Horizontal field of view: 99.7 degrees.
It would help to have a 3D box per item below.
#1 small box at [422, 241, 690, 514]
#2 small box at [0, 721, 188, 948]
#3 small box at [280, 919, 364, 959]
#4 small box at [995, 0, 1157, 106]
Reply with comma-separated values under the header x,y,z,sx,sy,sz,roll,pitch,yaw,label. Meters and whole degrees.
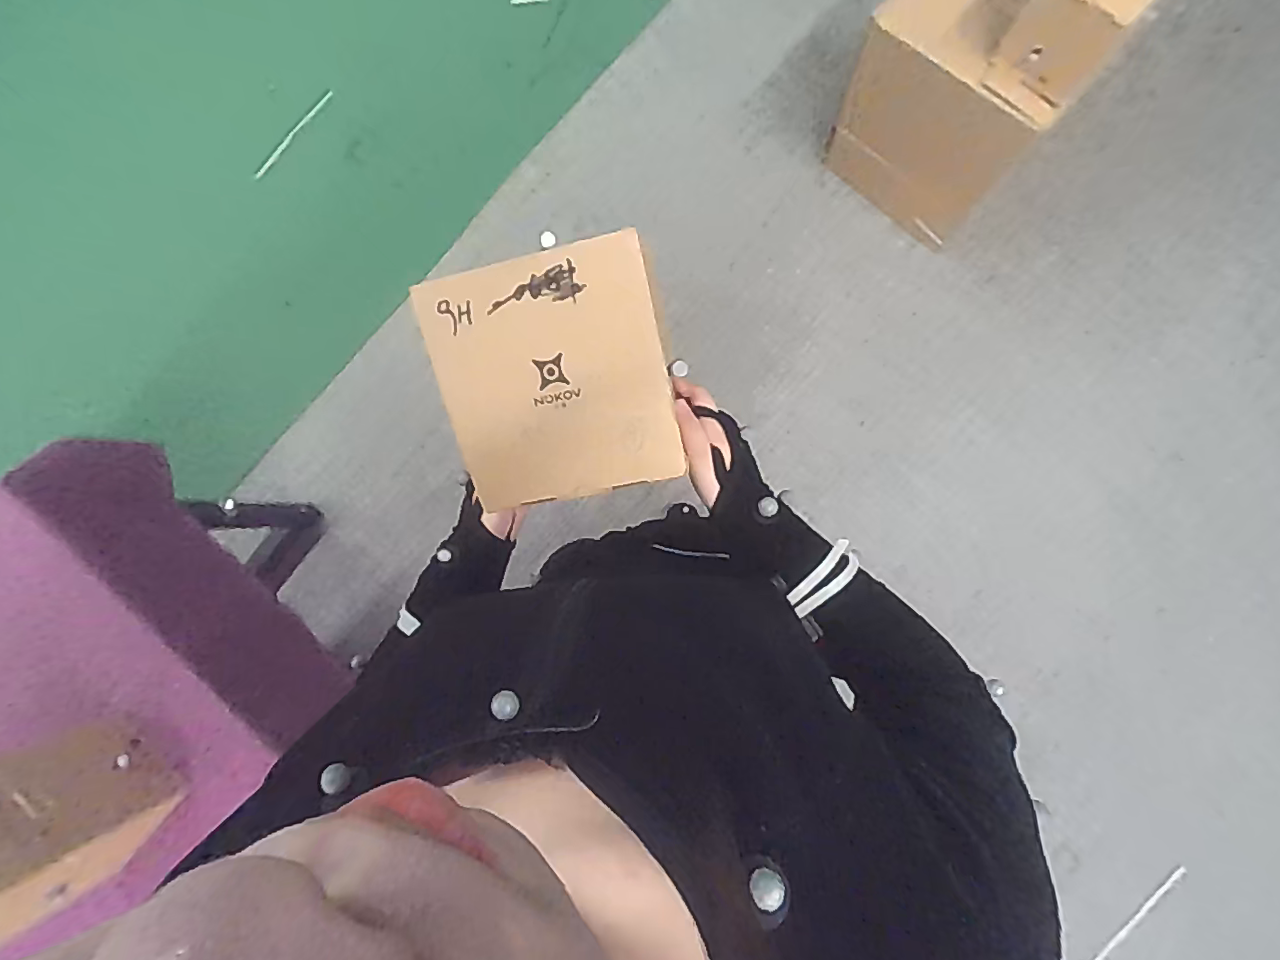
x,y,z,sx,sy,sz,roll,pitch,yaw,label
-0.050,-0.092,0.467,0.168,0.176,0.179,-10,108,8,small box
-0.800,0.480,0.753,0.168,0.176,0.179,41,91,7,small box
-0.455,0.737,0.697,0.168,0.176,0.179,38,92,8,small box
0.773,-0.816,0.941,0.168,0.176,0.179,41,91,9,small box
